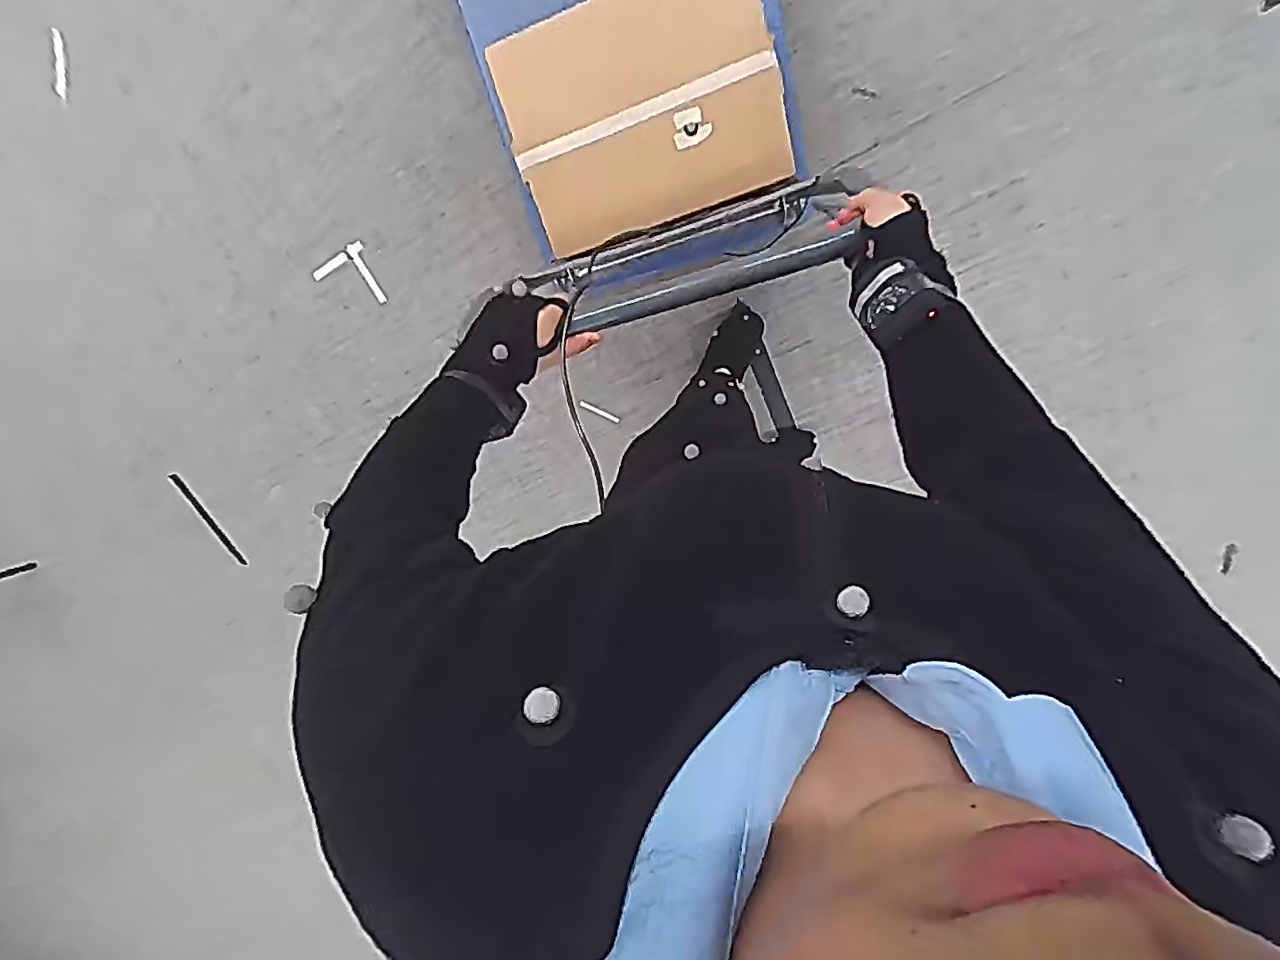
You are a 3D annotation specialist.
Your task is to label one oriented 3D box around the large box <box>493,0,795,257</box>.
[{"bbox_3d":[0.021,-0.619,0.962,0.408,0.320,0.320,-15,111,12],"label":"large box"}]
